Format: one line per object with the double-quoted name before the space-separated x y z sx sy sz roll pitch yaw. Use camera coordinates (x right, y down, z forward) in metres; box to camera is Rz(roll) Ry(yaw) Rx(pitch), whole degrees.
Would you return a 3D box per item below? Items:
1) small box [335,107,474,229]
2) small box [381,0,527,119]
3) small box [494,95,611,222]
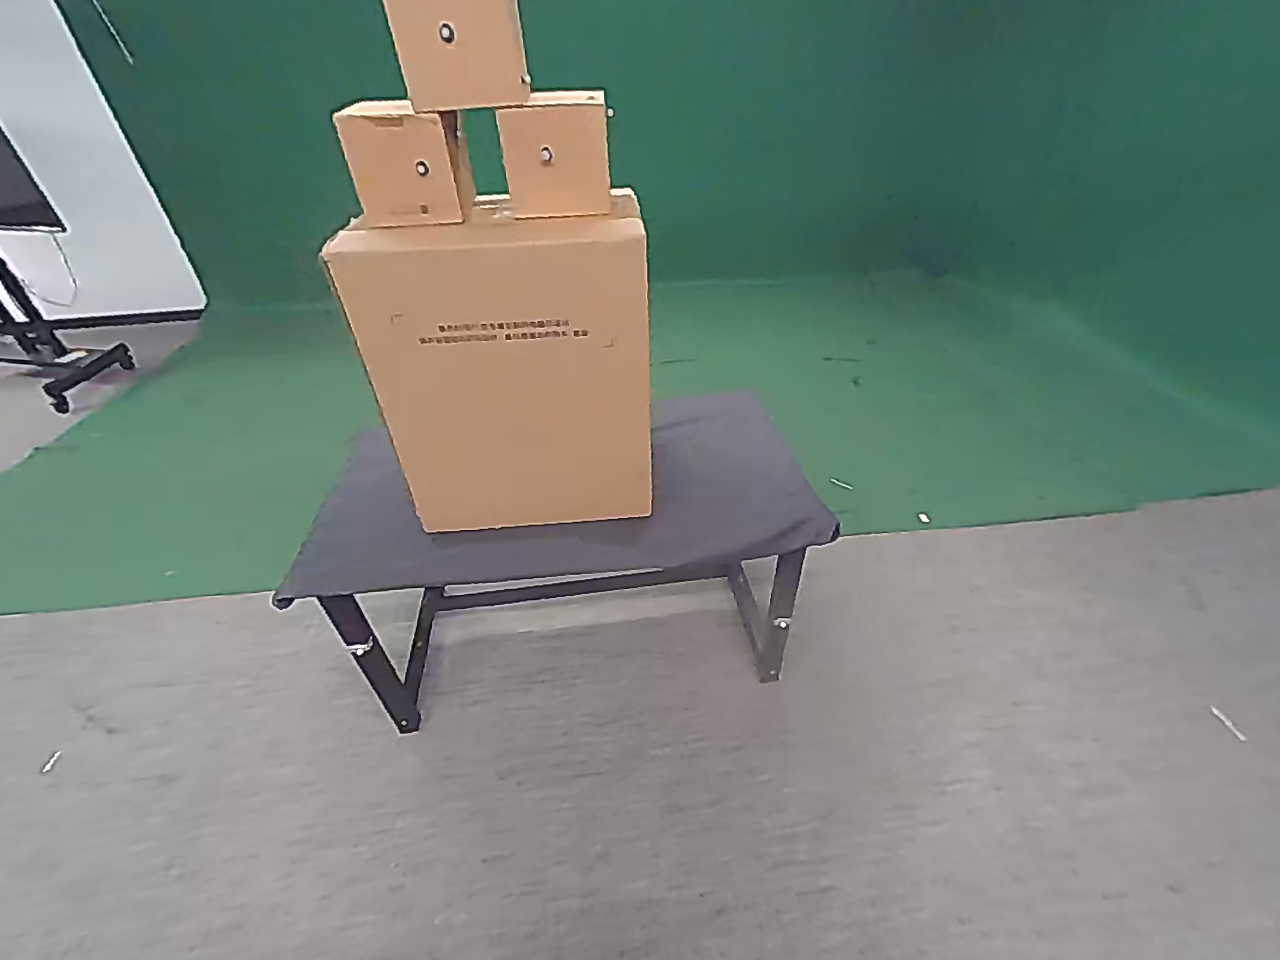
"small box" -0.402 -0.555 0.964 0.168 0.176 0.179 -4 39 -4
"small box" -0.282 -0.691 0.861 0.179 0.176 0.168 -6 41 -2
"small box" -0.147 -0.578 0.974 0.179 0.176 0.168 -4 42 -1
